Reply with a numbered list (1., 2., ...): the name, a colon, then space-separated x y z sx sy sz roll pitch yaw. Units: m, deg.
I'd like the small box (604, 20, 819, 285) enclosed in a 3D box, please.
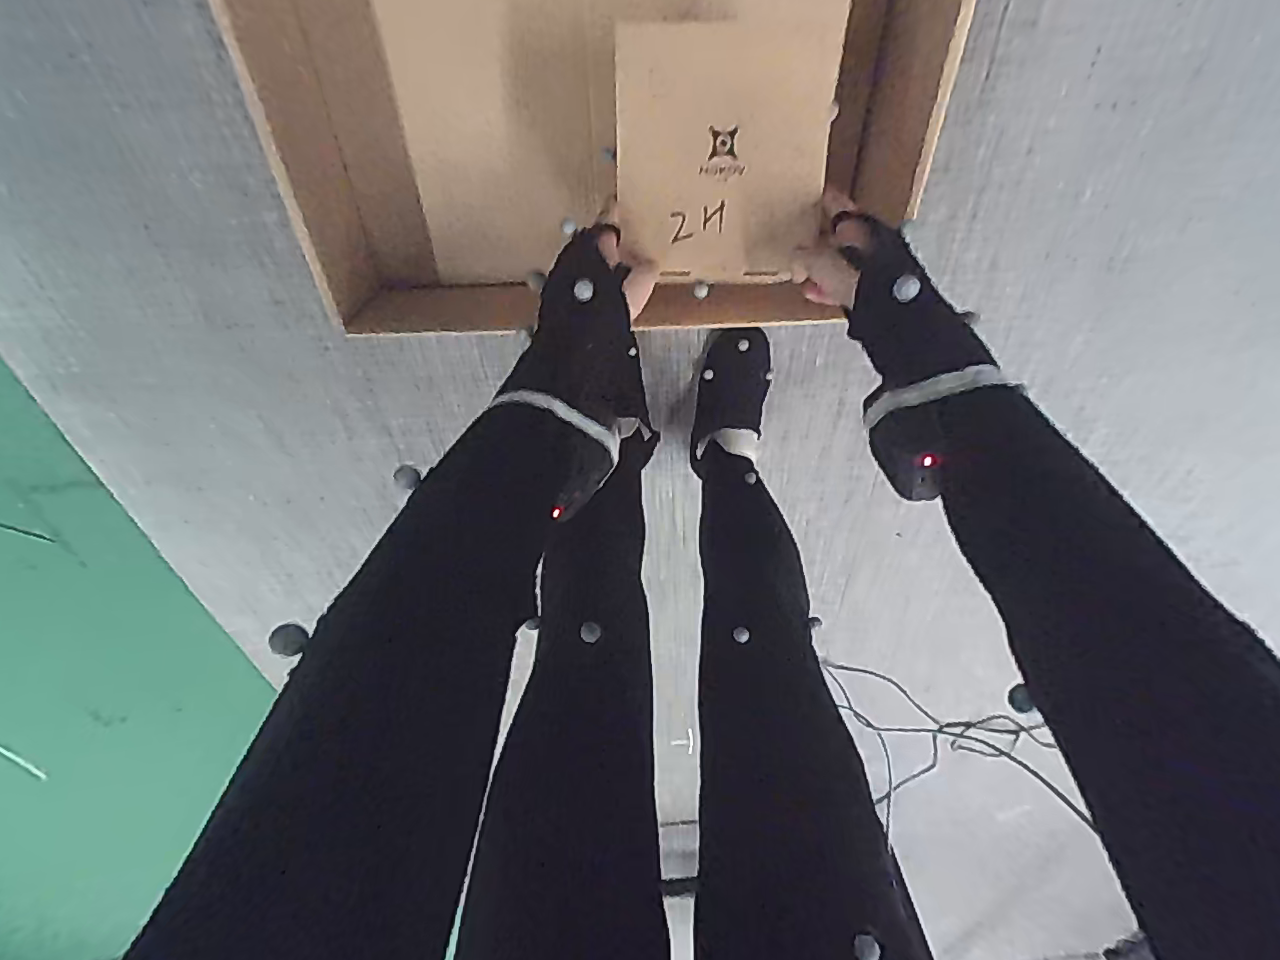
1. small box: 0.053 -0.281 0.503 0.168 0.176 0.179 0 107 1
